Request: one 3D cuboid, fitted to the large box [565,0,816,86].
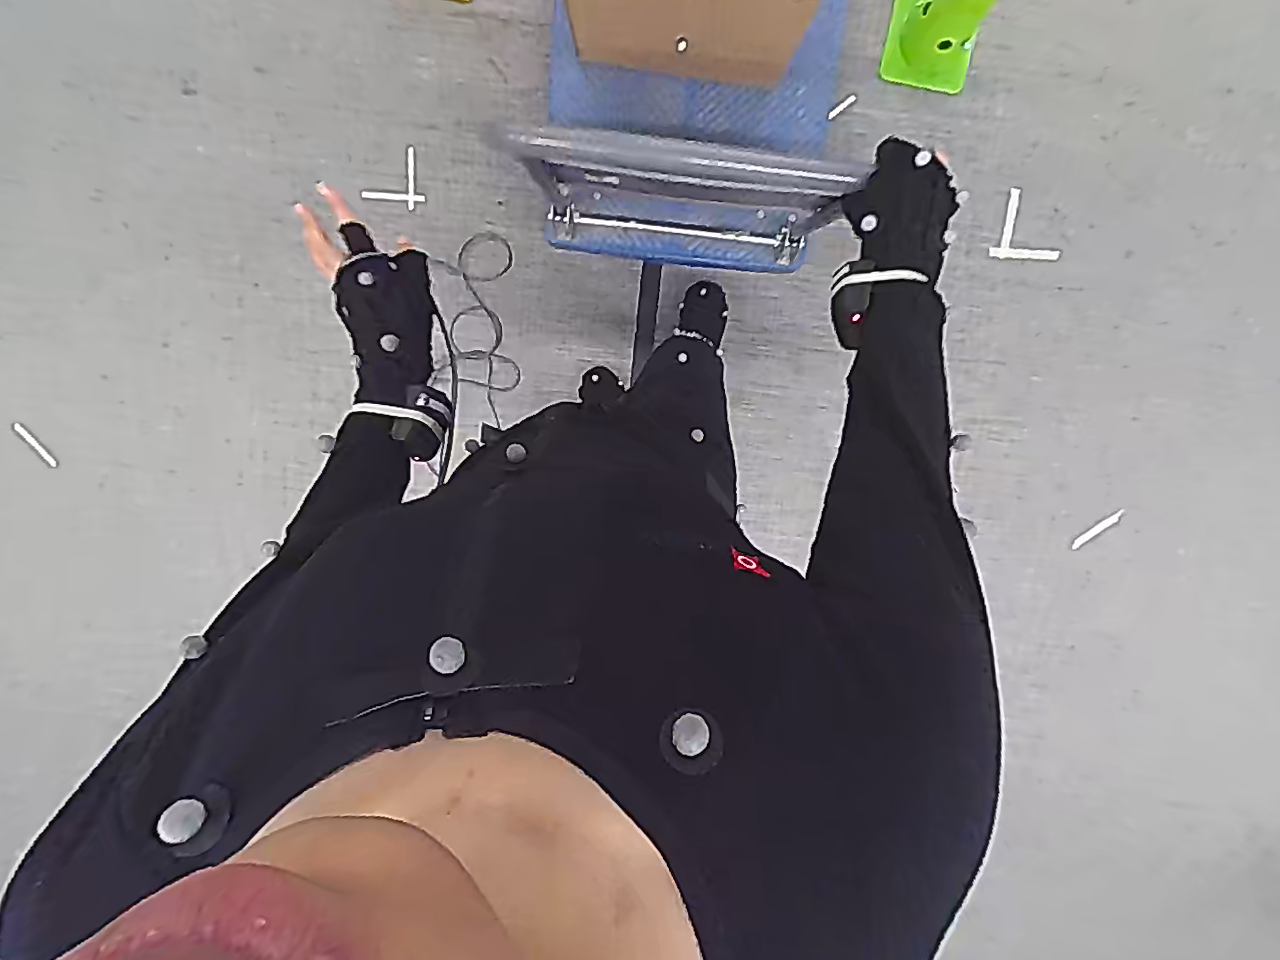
[{"bbox_3d":[0.091,-0.930,0.922,0.408,0.320,0.320,7,104,-1],"label":"large box"}]

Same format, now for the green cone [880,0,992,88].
[{"bbox_3d":[0.662,-0.976,1.059,0.202,0.368,0.200,9,103,-4],"label":"green cone"}]
